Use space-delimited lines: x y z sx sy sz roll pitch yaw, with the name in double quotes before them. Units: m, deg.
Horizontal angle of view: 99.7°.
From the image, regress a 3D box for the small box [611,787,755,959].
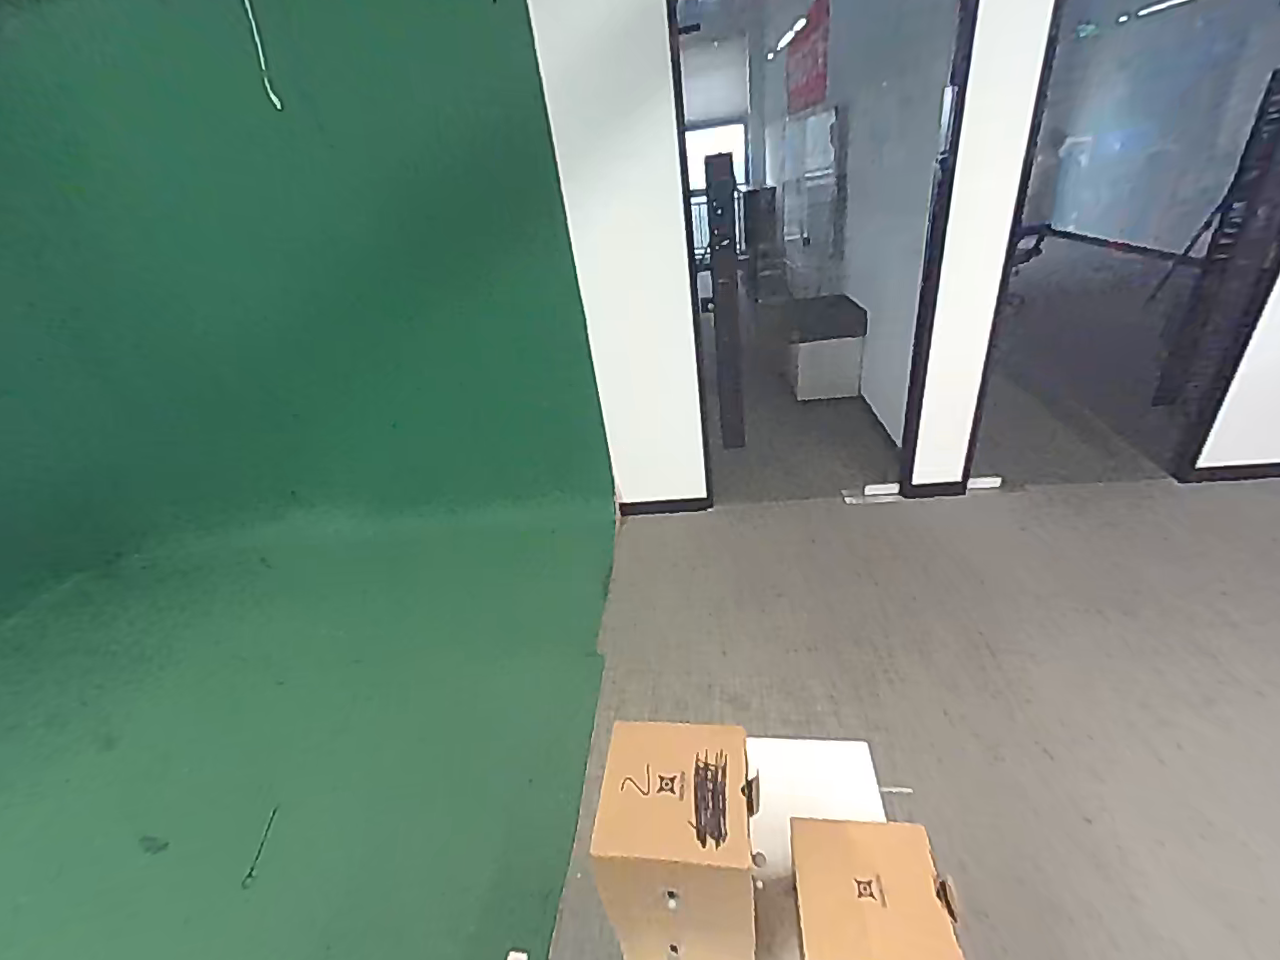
"small box" 0.068 0.566 0.765 0.179 0.176 0.168 -3 31 9
